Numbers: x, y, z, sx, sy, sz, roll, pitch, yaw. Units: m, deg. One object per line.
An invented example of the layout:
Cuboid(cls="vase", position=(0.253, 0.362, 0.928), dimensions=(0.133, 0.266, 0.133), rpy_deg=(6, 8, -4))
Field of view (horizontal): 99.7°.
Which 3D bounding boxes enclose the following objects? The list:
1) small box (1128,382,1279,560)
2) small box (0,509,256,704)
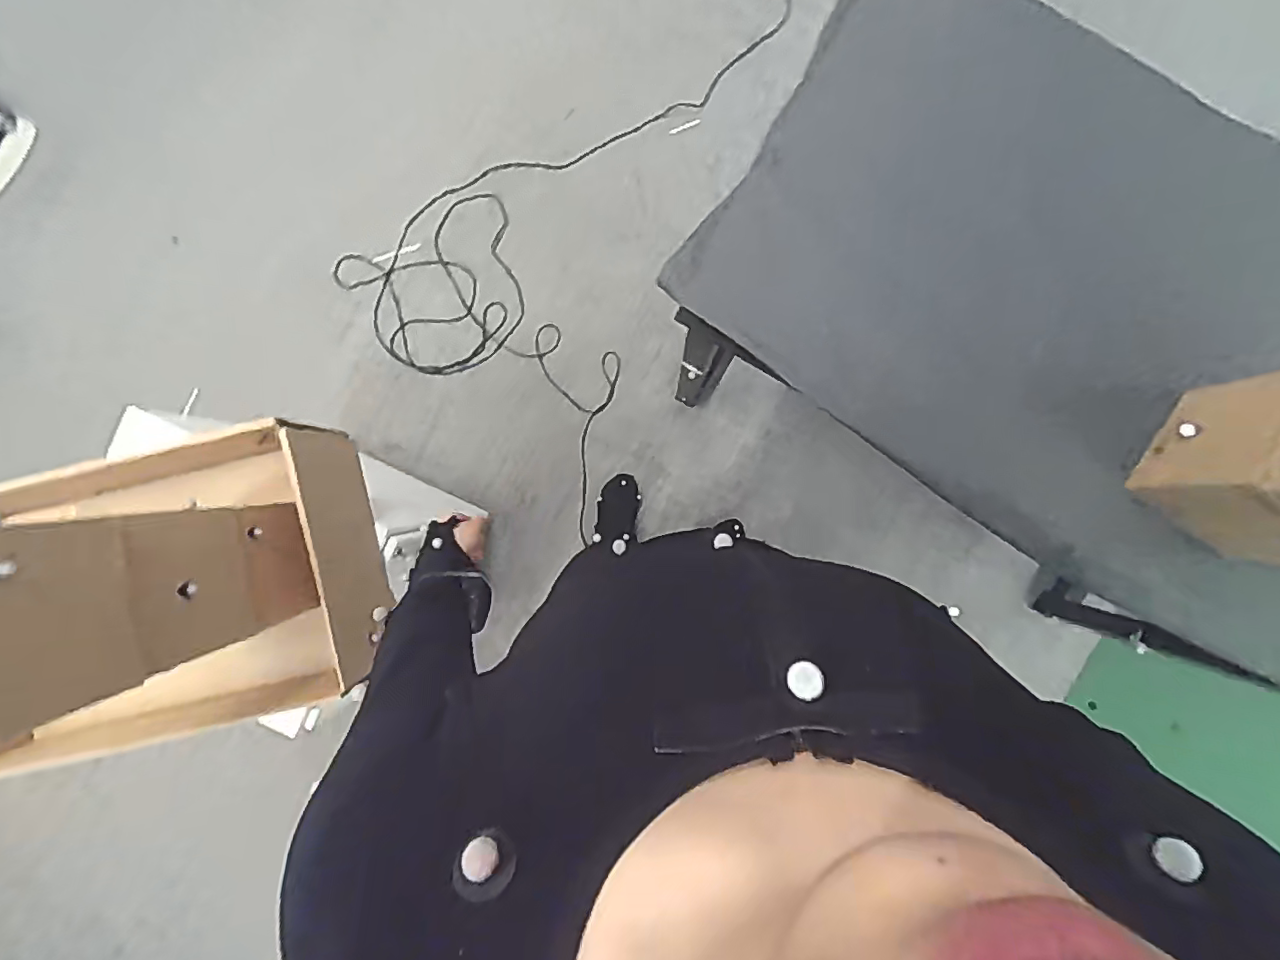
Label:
Cuboid(cls="small box", position=(0.776, -0.010, 0.658), dimensions=(0.179, 0.176, 0.168), rpy_deg=(35, 89, 3))
Cuboid(cls="small box", position=(-0.599, 0.132, 0.633), dimensions=(0.168, 0.176, 0.179), rpy_deg=(-12, 91, 3))
